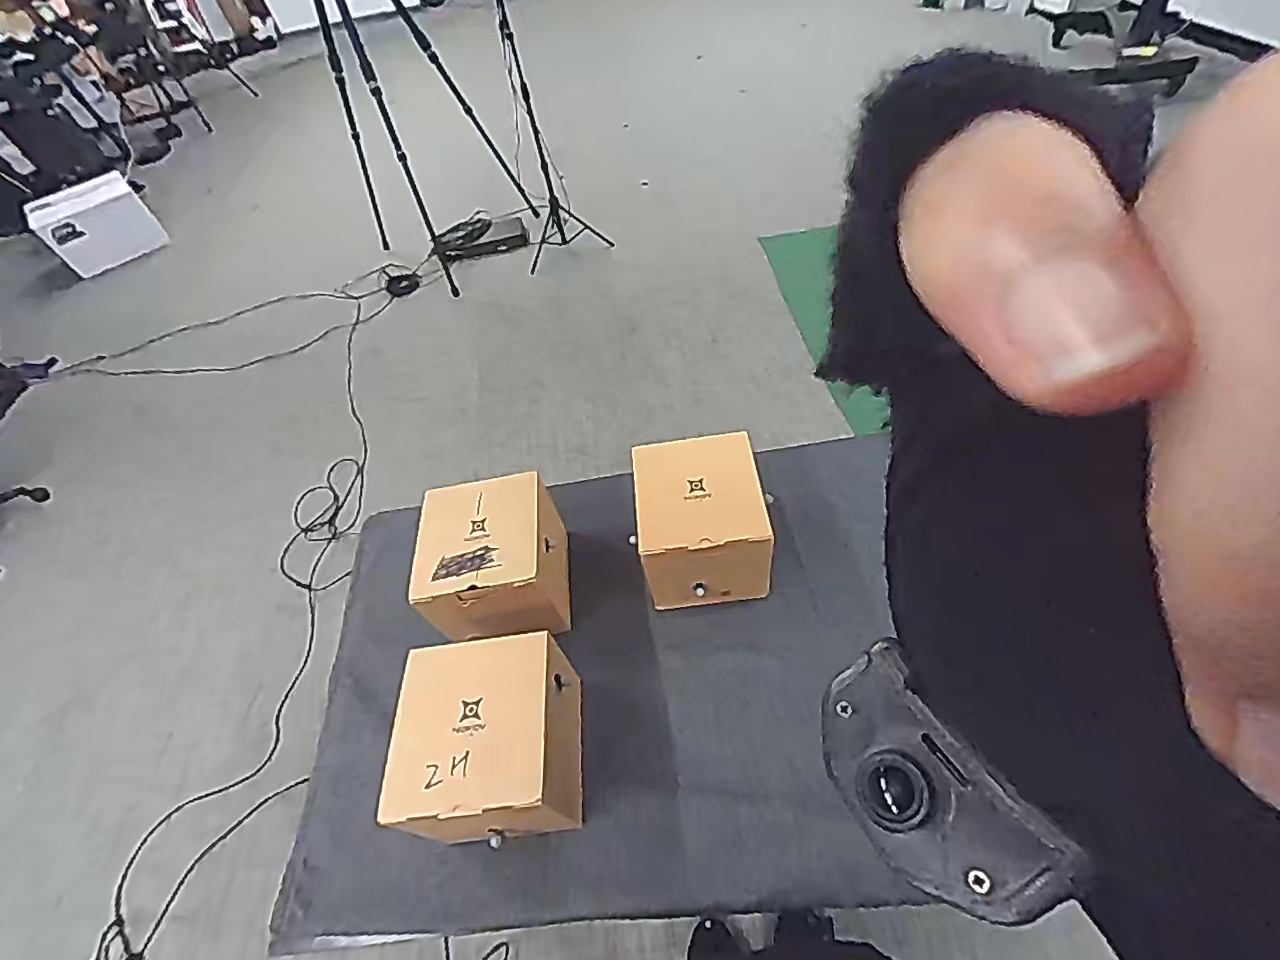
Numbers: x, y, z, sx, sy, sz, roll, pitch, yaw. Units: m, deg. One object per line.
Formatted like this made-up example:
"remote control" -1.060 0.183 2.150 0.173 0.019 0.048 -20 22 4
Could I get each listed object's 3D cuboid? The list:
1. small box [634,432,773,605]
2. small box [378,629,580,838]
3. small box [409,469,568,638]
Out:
"small box" 0.085 0.058 0.772 0.168 0.176 0.179 -8 53 4
"small box" -0.168 0.297 0.629 0.168 0.176 0.179 -8 51 3
"small box" -0.203 0.113 0.775 0.168 0.176 0.179 -10 52 2
